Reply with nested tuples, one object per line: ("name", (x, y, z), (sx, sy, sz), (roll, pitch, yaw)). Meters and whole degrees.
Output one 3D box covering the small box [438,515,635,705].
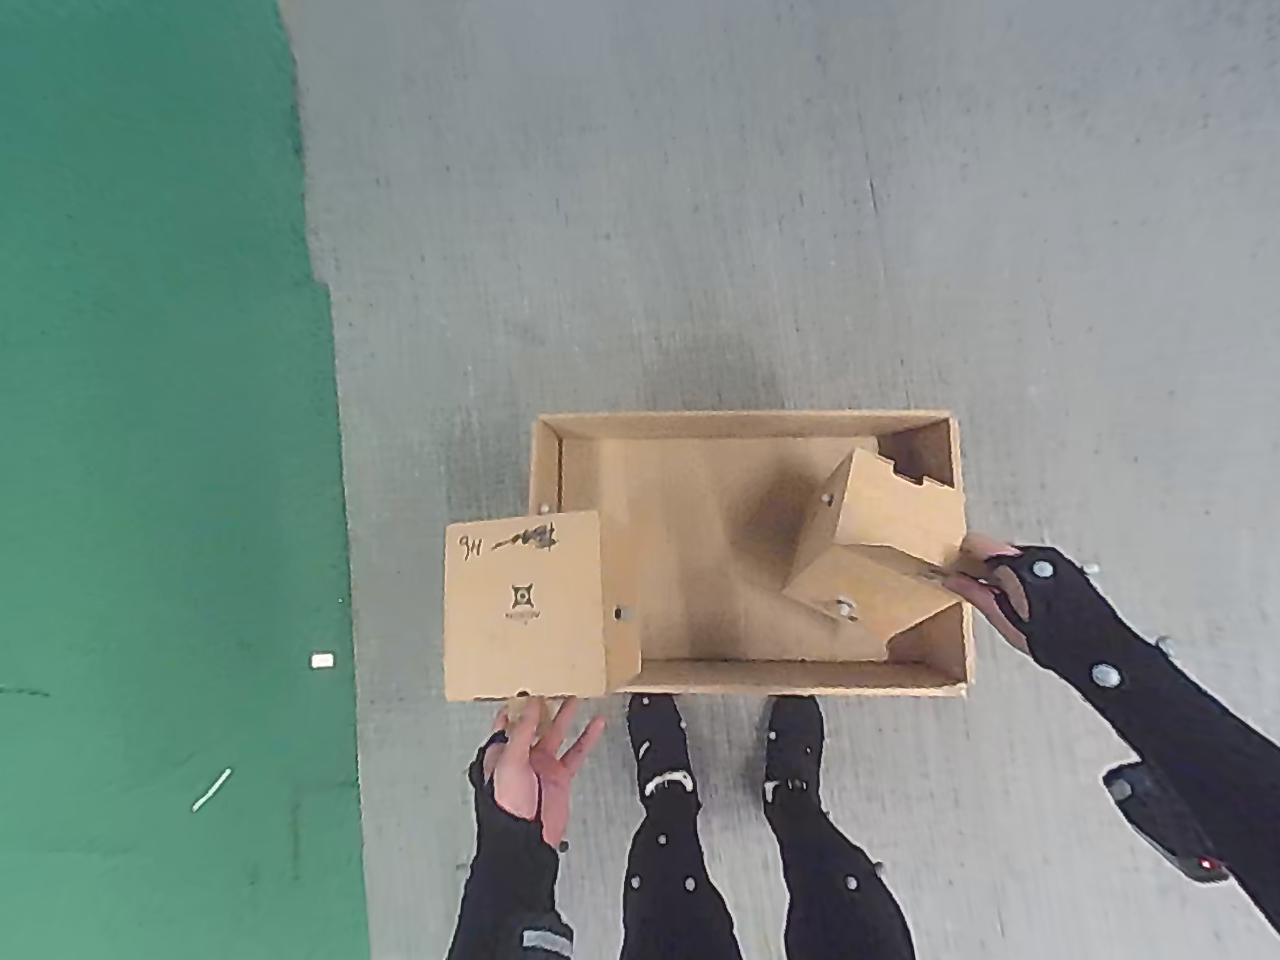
("small box", (-0.104, 0.140, 0.602), (0.168, 0.176, 0.179), (-6, 78, 11))
